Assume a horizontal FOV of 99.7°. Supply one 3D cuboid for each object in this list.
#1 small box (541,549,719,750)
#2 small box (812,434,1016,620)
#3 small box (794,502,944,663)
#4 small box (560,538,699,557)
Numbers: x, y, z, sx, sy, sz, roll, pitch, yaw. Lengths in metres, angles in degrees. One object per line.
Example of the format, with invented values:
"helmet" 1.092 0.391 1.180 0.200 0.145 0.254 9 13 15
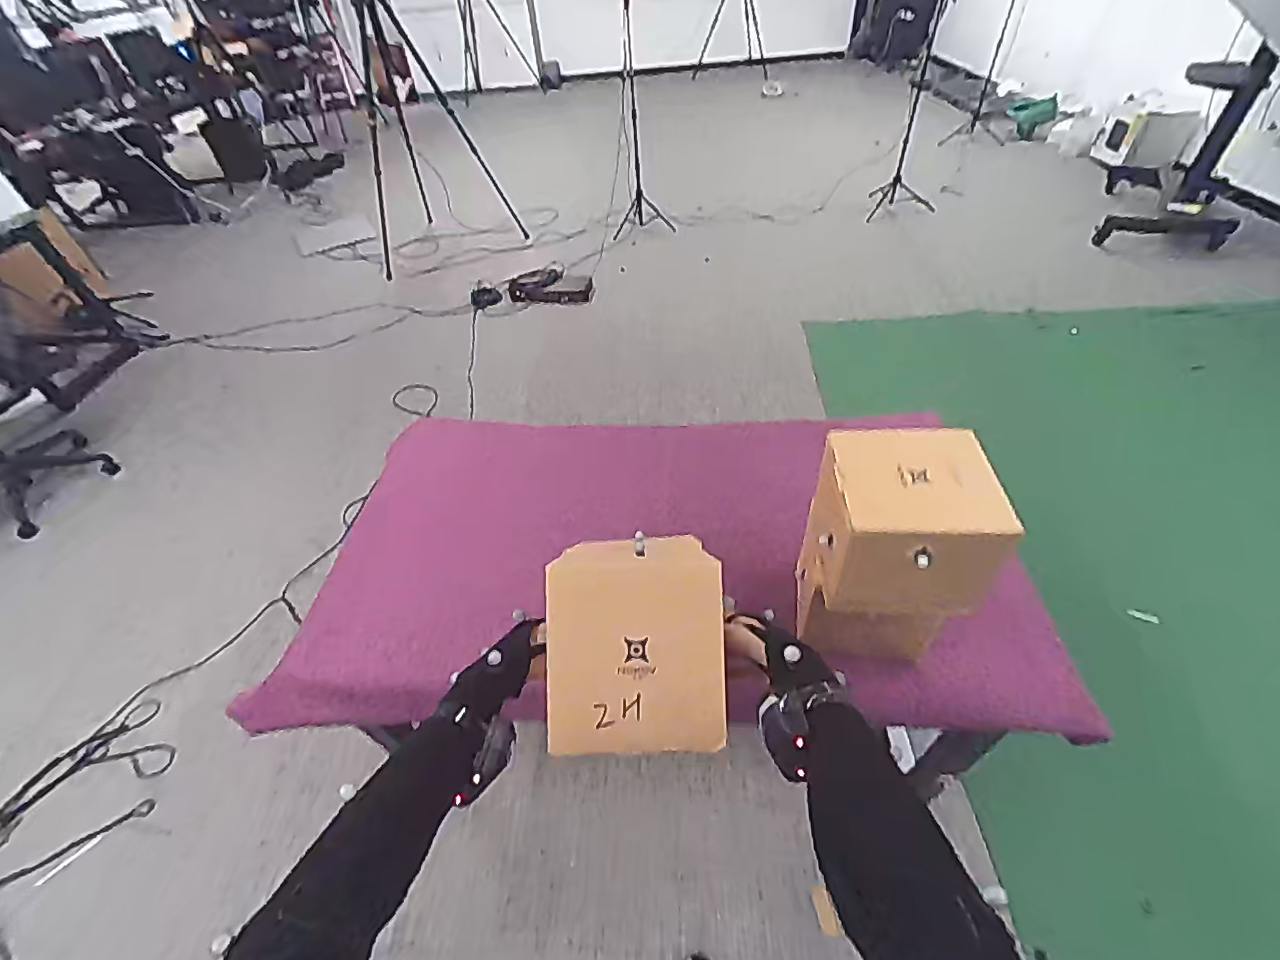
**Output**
"small box" -0.010 0.165 0.579 0.168 0.176 0.179 0 87 0
"small box" 0.317 0.060 0.675 0.179 0.176 0.168 1 45 8
"small box" 0.332 0.155 0.810 0.179 0.176 0.168 4 45 12
"small box" -0.008 0.168 0.746 0.179 0.176 0.168 -4 86 0
